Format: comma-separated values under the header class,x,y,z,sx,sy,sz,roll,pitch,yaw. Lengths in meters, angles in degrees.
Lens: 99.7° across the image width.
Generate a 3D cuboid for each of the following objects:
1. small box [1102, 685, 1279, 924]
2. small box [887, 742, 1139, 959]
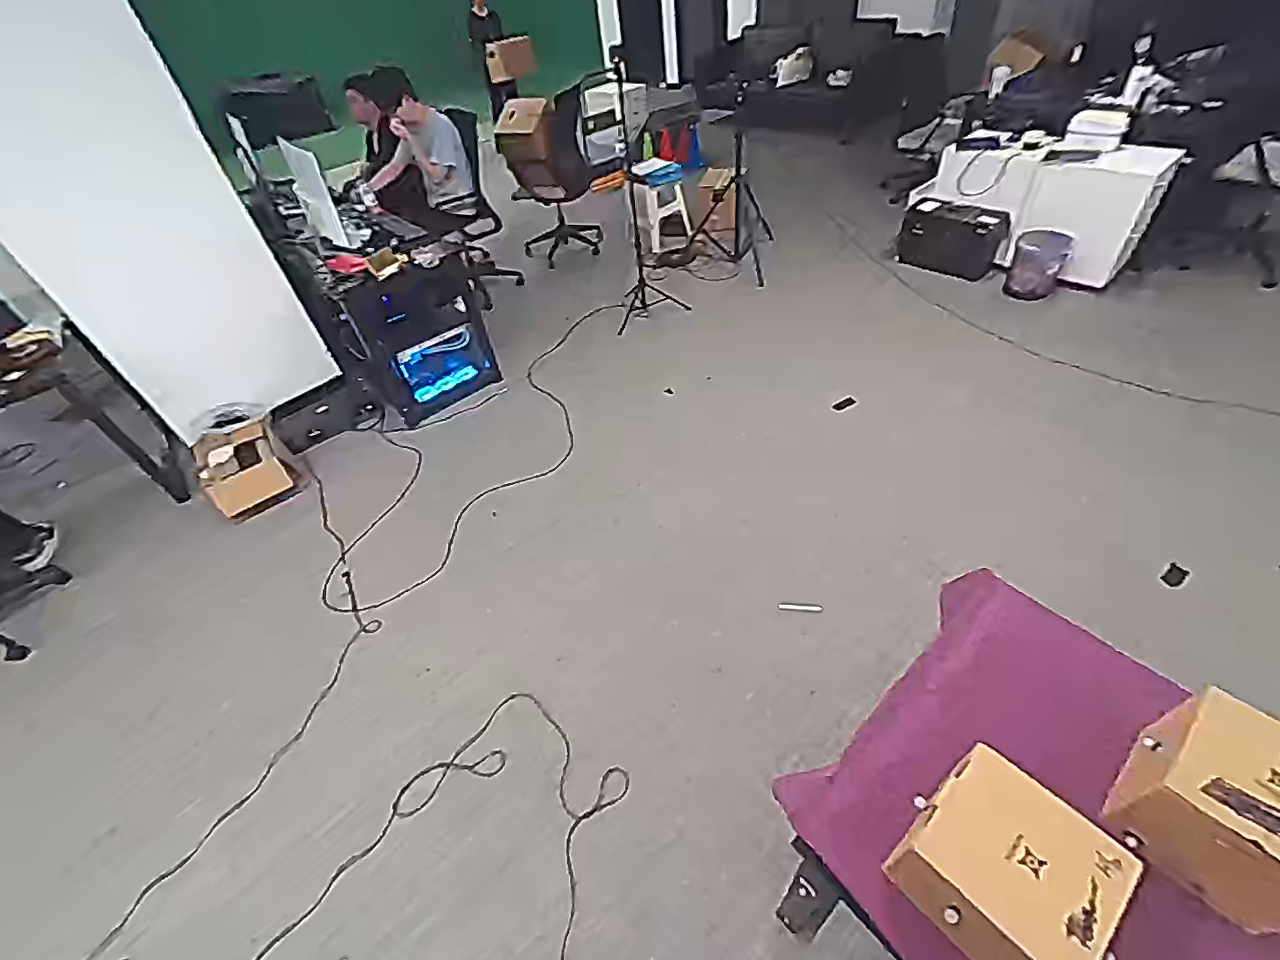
class,x,y,z,sx,sy,sz,roll,pitch,yaw
small box,0.727,0.403,0.672,0.179,0.176,0.168,-36,51,-24
small box,0.430,0.468,0.655,0.168,0.176,0.179,-35,50,-23
